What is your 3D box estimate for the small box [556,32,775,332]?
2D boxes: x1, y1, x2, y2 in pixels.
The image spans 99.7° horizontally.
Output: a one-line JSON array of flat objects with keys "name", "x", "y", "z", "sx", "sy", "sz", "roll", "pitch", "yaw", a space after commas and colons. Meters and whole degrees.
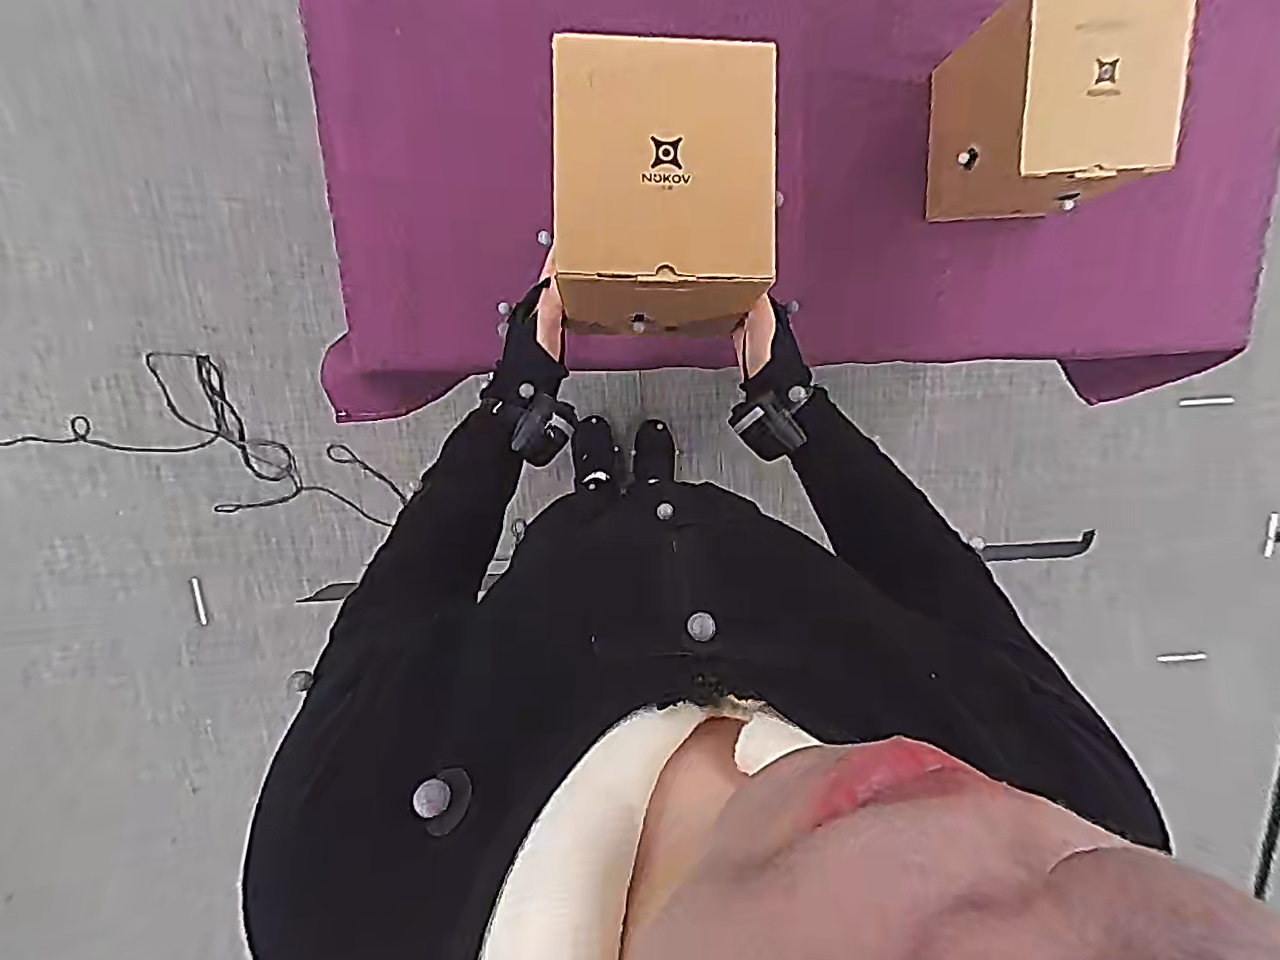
[{"name": "small box", "x": 0.013, "y": -0.240, "z": 0.479, "sx": 0.168, "sy": 0.176, "sz": 0.179, "roll": -1, "pitch": 93, "yaw": -4}]

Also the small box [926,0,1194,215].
[{"name": "small box", "x": 0.447, "y": -0.409, "z": 0.607, "sx": 0.168, "sy": 0.176, "sz": 0.179, "roll": -4, "pitch": 101, "yaw": -3}]
